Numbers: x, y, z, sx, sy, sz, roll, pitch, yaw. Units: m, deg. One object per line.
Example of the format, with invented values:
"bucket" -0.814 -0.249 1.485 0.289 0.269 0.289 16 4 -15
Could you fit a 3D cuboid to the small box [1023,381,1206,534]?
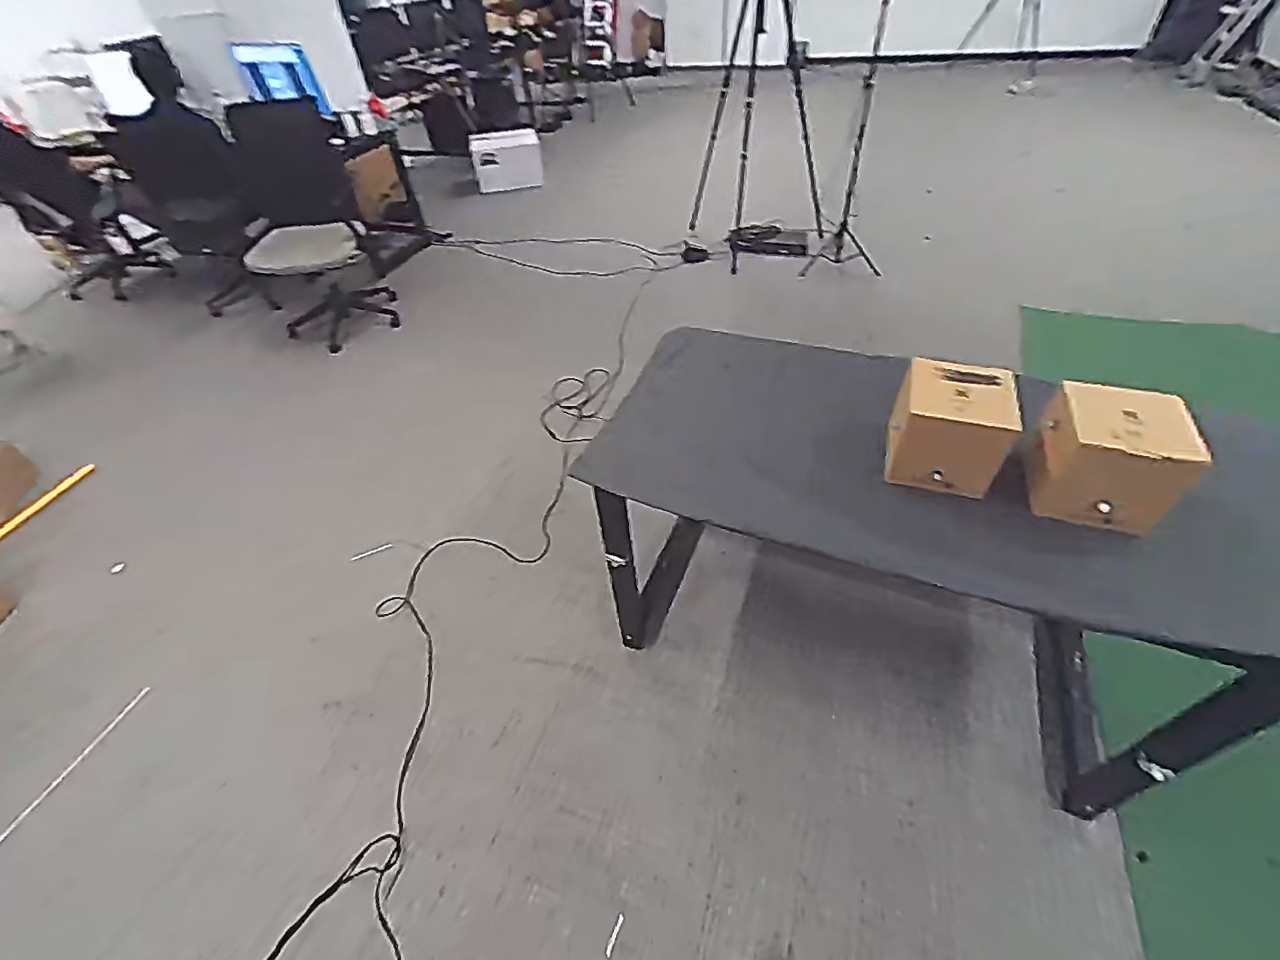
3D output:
"small box" 0.778 -0.040 0.915 0.168 0.176 0.179 13 47 18
